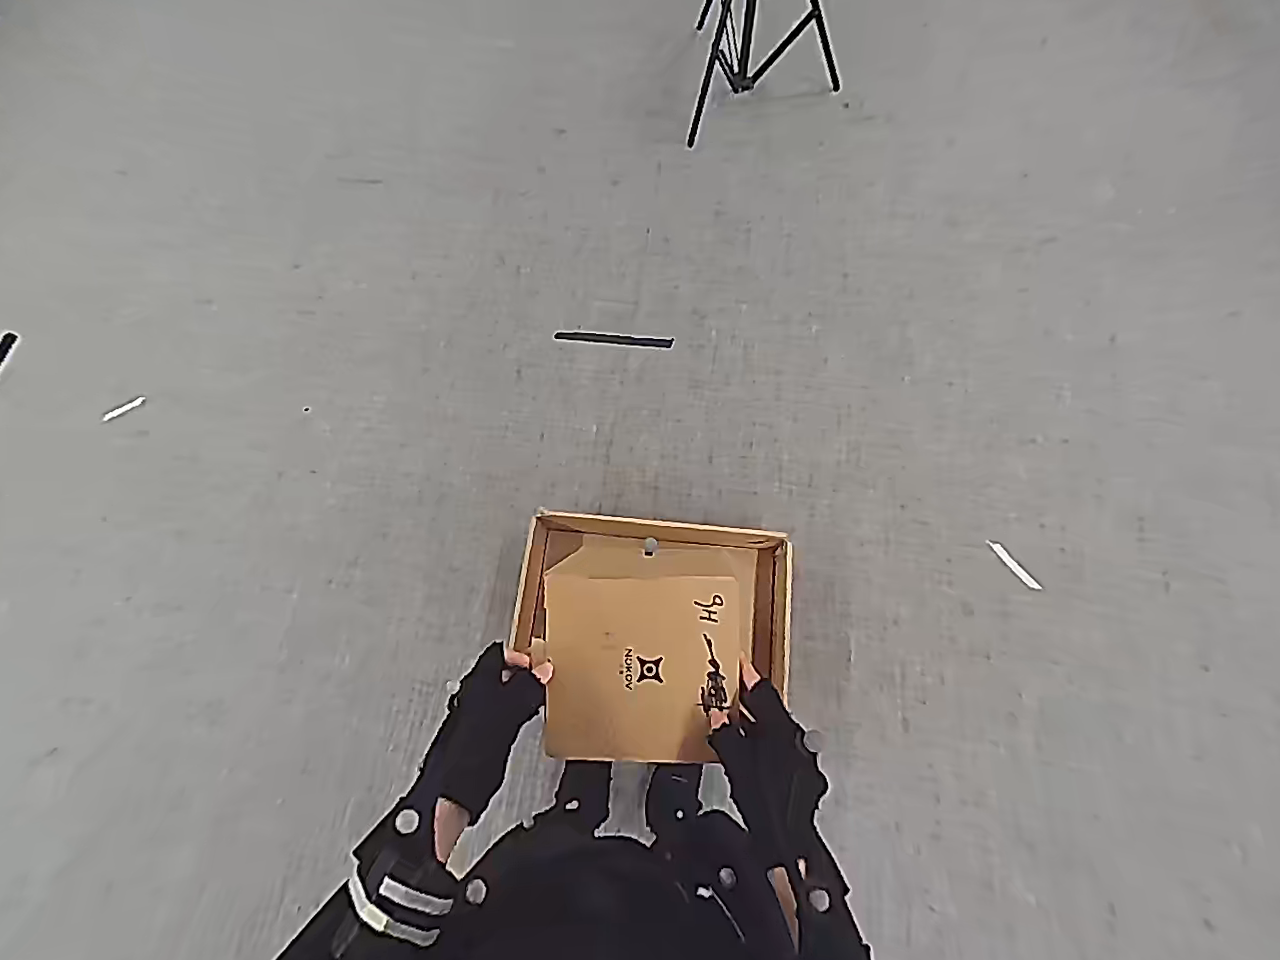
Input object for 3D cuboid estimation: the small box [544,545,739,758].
[{"bbox_3d":[0.009,0.160,0.559,0.179,0.176,0.168,0,90,6],"label":"small box"}]
